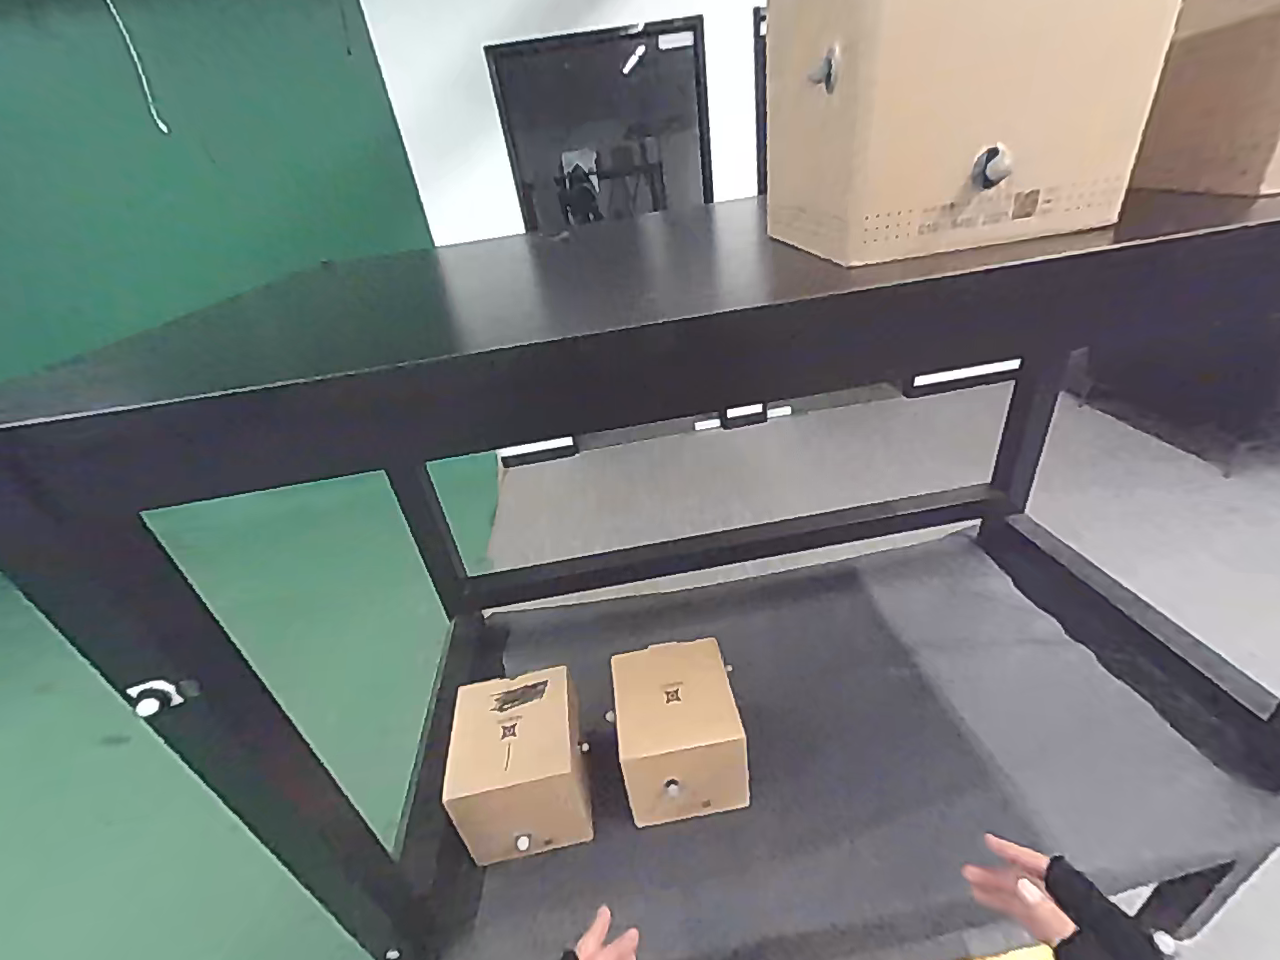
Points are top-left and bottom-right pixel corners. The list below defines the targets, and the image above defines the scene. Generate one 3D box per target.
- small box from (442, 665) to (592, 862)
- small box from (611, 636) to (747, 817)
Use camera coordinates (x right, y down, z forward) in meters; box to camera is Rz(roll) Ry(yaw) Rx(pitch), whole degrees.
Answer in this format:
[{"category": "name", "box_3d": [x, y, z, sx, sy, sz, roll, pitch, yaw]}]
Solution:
[{"category": "small box", "box_3d": [-0.168, 0.405, 0.783, 0.168, 0.176, 0.179, -11, 30, -4]}, {"category": "small box", "box_3d": [0.056, 0.365, 0.796, 0.168, 0.176, 0.179, -10, 29, -2]}]
